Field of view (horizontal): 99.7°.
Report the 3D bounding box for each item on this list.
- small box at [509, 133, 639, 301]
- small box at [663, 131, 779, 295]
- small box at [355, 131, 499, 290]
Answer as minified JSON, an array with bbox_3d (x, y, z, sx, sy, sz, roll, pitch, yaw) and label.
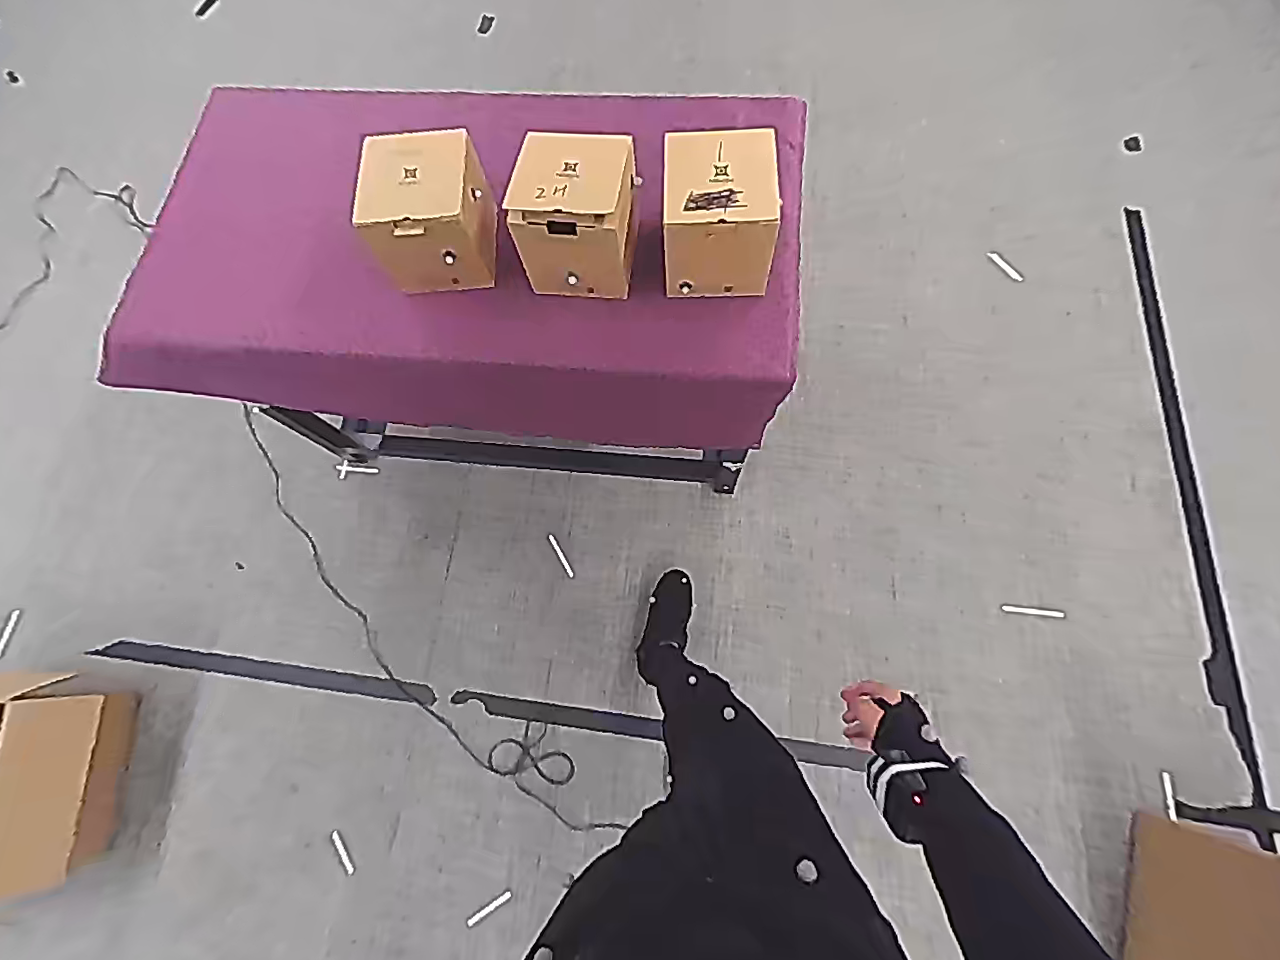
[{"bbox_3d":[-0.095,-0.420,0.877,0.168,0.176,0.179,6,73,6],"label":"small box"},{"bbox_3d":[0.124,-0.413,0.860,0.168,0.176,0.179,0,71,4],"label":"small box"},{"bbox_3d":[-0.341,-0.436,0.901,0.168,0.176,0.179,-3,72,2],"label":"small box"}]
